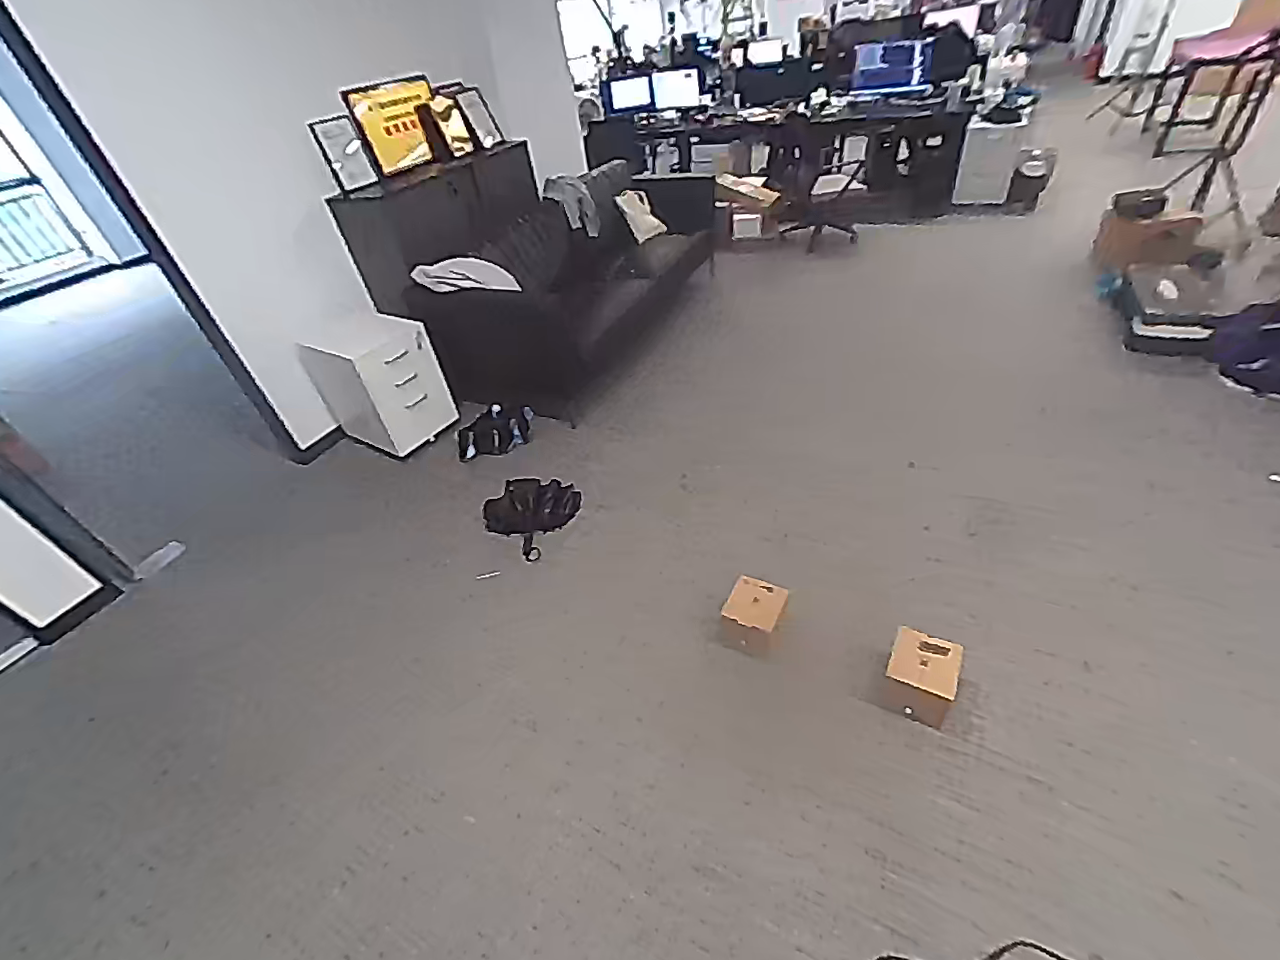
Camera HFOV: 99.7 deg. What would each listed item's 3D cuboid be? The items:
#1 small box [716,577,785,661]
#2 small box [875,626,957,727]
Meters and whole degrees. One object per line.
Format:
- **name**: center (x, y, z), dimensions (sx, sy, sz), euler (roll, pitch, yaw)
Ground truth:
- **small box**: center (0.360, 0.450, 1.739), dimensions (0.168, 0.176, 0.179), euler (15, 45, 27)
- **small box**: center (0.773, 0.553, 1.525), dimensions (0.168, 0.176, 0.179), euler (15, 46, 28)
